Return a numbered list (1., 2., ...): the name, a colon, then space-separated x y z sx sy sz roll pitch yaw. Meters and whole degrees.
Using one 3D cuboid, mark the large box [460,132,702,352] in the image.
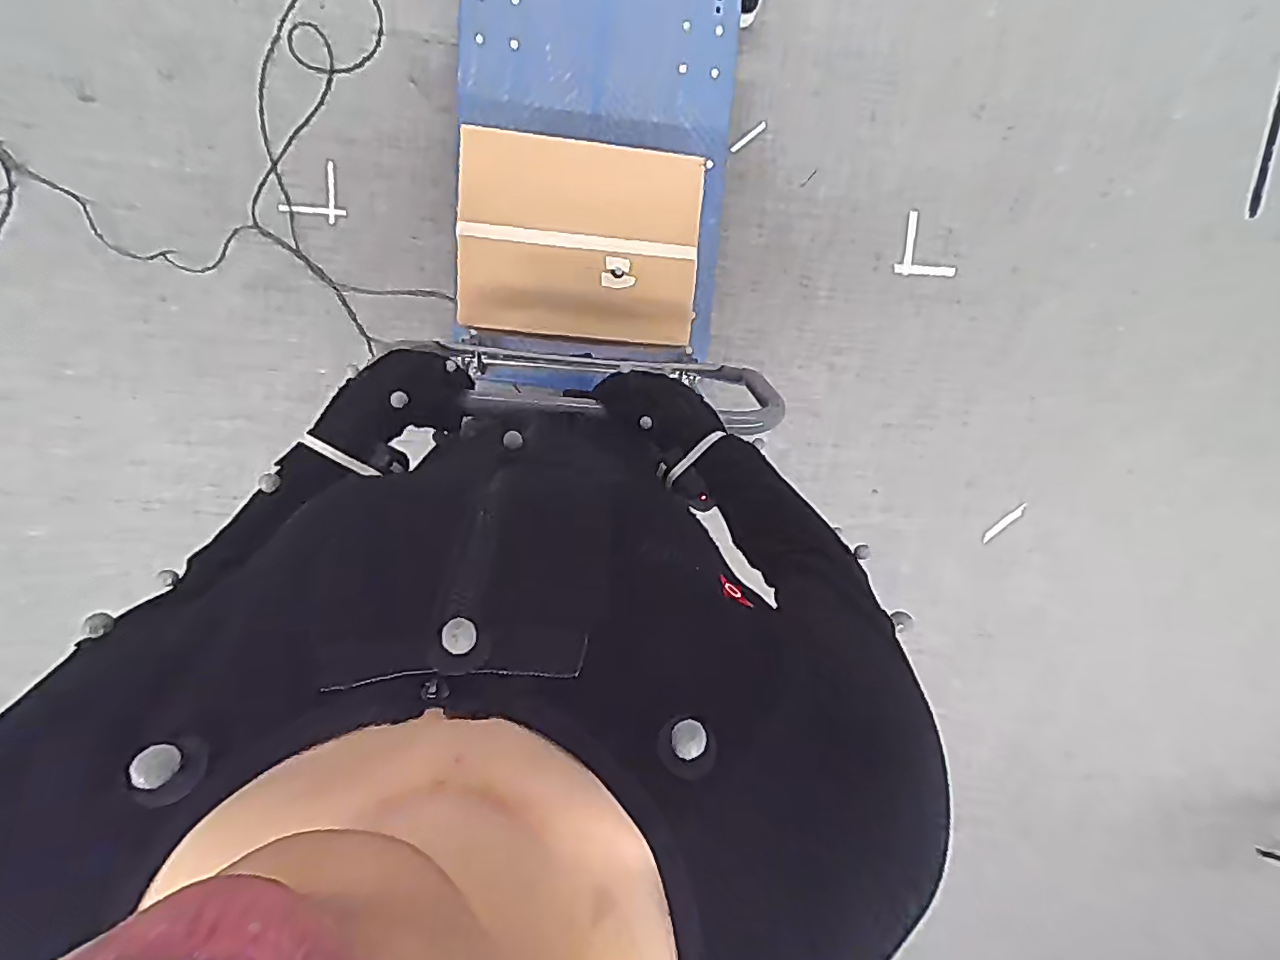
1. large box: -0.119 -0.427 1.060 0.408 0.320 0.320 3 101 -7
